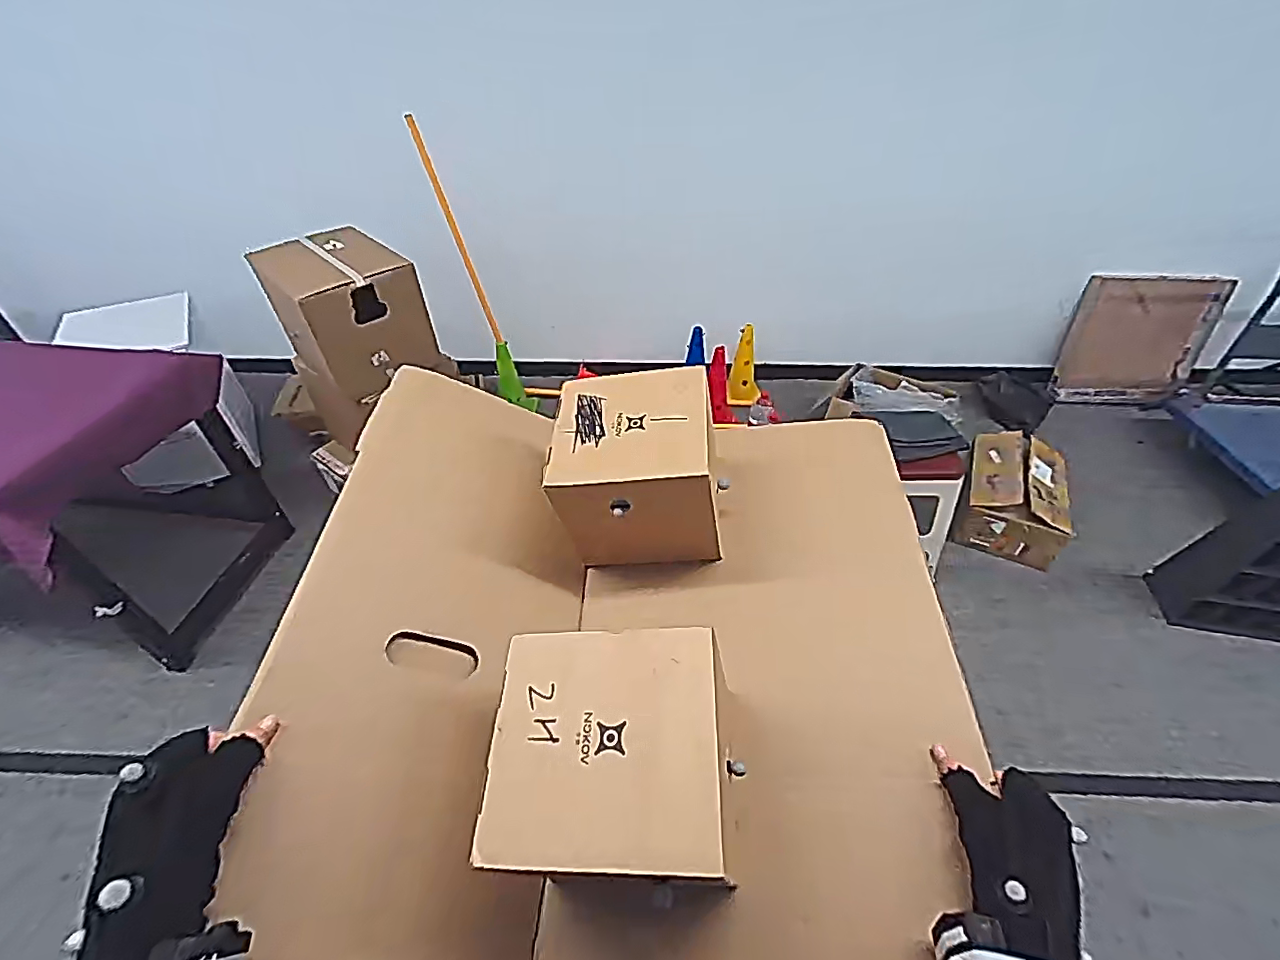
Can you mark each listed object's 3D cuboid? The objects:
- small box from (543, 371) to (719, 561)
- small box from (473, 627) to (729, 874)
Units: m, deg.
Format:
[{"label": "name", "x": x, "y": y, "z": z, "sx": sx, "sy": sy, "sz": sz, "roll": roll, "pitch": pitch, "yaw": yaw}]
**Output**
[{"label": "small box", "x": 0.001, "y": -0.010, "z": 0.669, "sx": 0.179, "sy": 0.176, "sz": 0.168, "roll": -4, "pitch": 52, "yaw": 11}, {"label": "small box", "x": -0.014, "y": 0.240, "z": 0.476, "sx": 0.179, "sy": 0.176, "sz": 0.168, "roll": -5, "pitch": 52, "yaw": 12}]
